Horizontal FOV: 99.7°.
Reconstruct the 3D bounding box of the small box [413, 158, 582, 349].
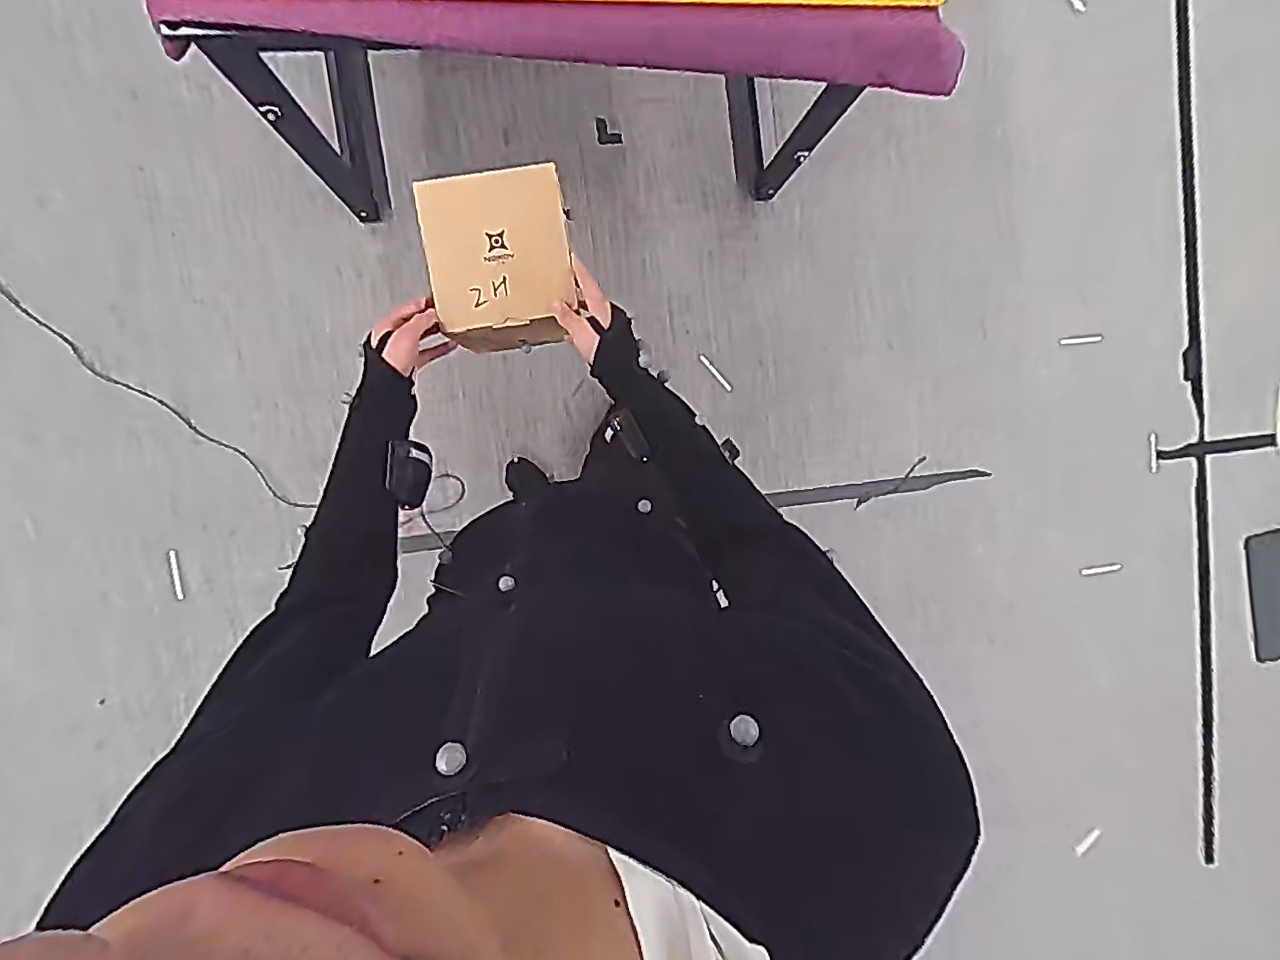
[{"bbox_3d":[-0.172,-0.281,0.706,0.168,0.176,0.179,-9,95,-2],"label":"small box"}]
